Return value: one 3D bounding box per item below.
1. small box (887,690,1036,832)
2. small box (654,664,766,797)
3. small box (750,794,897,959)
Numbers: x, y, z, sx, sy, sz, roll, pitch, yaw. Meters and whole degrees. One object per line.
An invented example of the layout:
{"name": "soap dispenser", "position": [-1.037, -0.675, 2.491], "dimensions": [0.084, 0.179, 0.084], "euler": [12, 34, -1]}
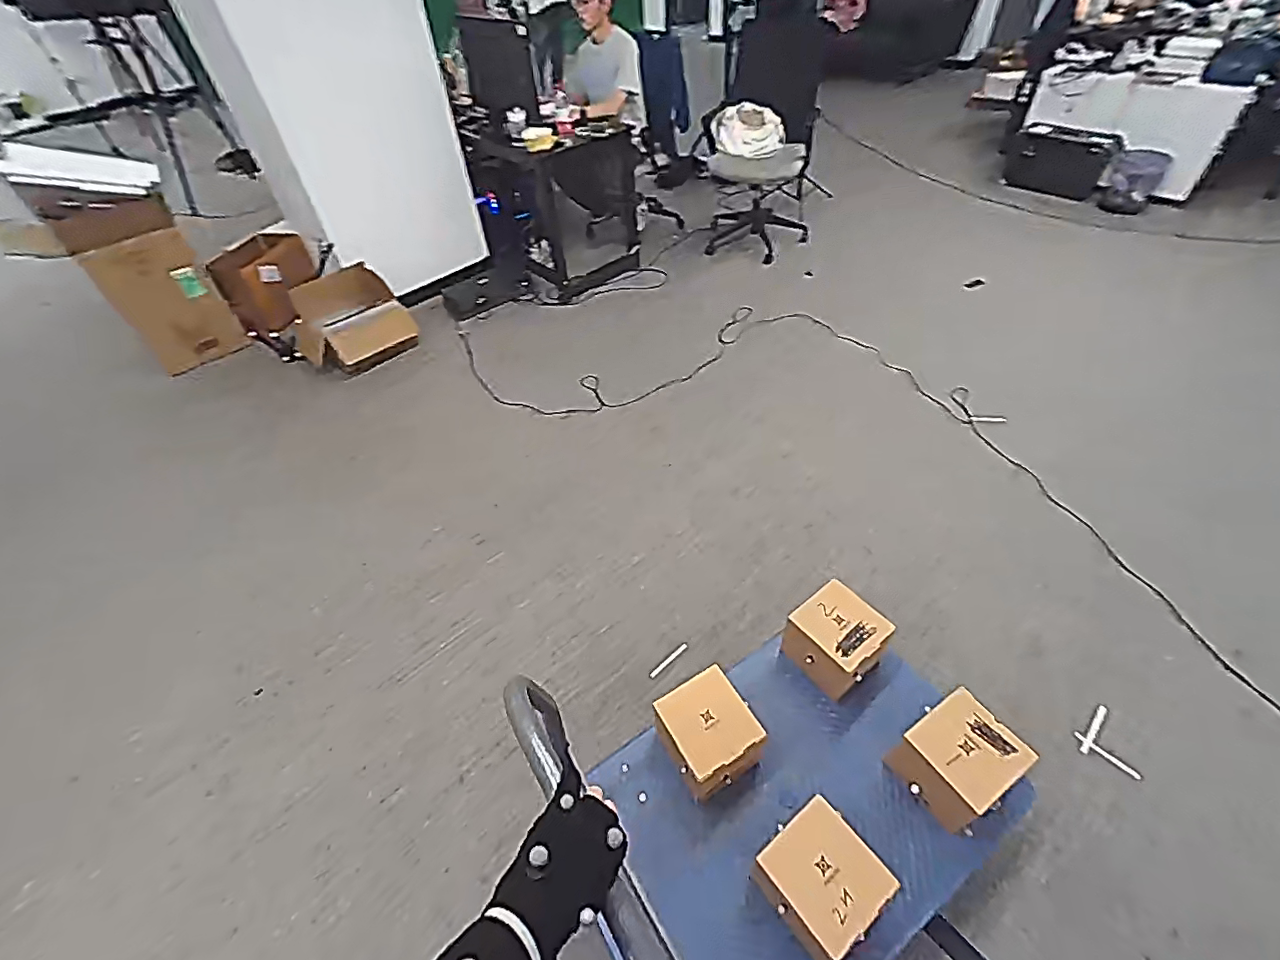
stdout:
{"name": "small box", "position": [0.631, 0.564, 1.085], "dimensions": [0.179, 0.176, 0.168], "euler": [-27, 50, -18]}
{"name": "small box", "position": [0.141, 0.537, 1.156], "dimensions": [0.168, 0.176, 0.179], "euler": [-25, 52, -18]}
{"name": "small box", "position": [0.316, 0.716, 0.972], "dimensions": [0.168, 0.176, 0.179], "euler": [-30, 51, -21]}
